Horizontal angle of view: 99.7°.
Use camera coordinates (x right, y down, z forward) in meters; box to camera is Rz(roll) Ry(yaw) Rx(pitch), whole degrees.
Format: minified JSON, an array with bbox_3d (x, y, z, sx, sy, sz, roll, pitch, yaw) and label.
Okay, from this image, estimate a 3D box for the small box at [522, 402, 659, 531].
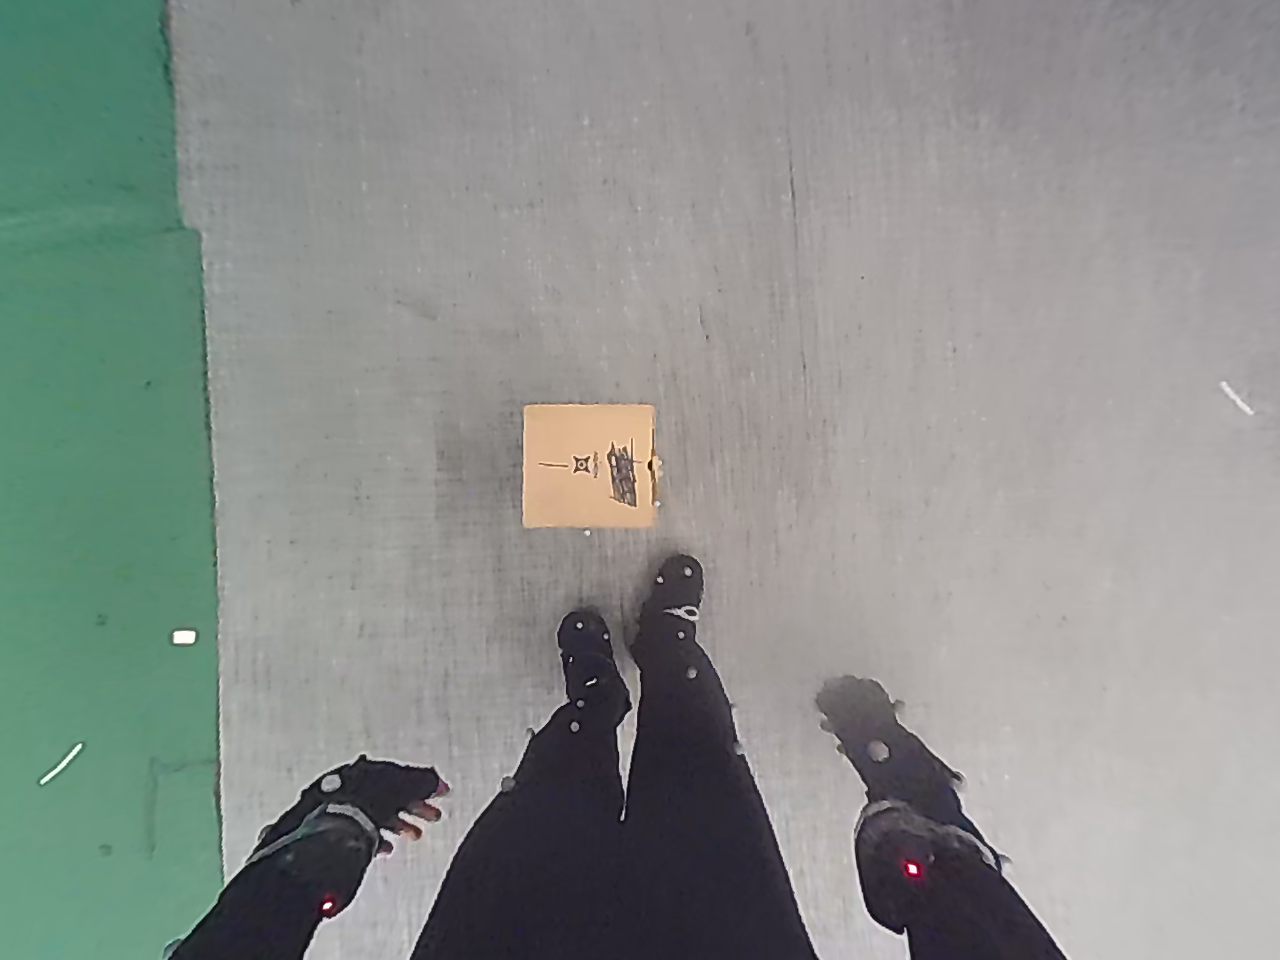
[{"bbox_3d":[-0.066,-0.014,0.798,0.179,0.176,0.168,3,86,1],"label":"small box"}]
